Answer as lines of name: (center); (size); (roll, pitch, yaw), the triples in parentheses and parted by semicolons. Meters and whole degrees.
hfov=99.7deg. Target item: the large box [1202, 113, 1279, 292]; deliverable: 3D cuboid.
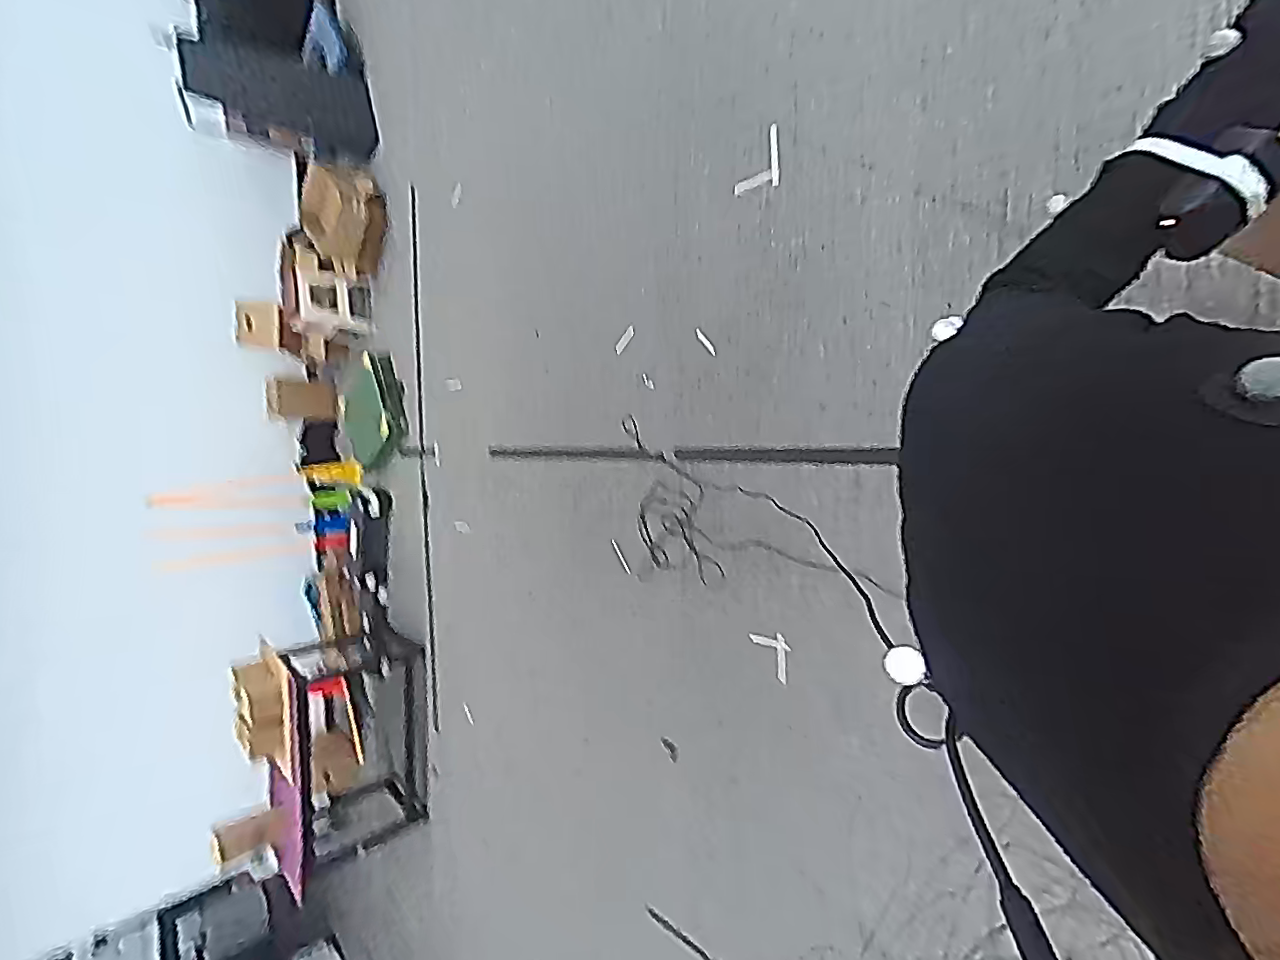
large box: (0.706, -0.233, 0.326); (0.408, 0.320, 0.320); (46, 123, 29)
